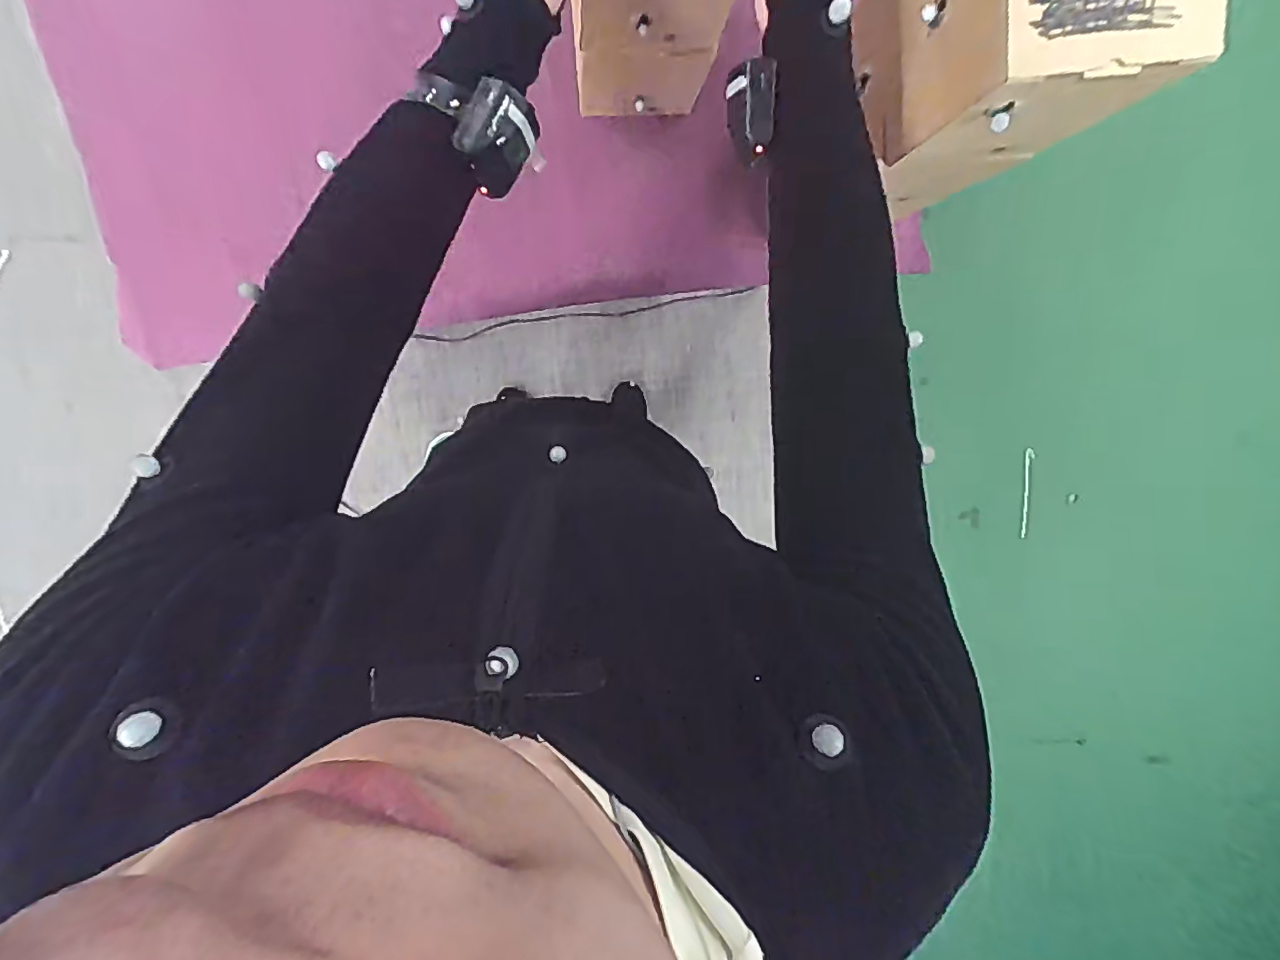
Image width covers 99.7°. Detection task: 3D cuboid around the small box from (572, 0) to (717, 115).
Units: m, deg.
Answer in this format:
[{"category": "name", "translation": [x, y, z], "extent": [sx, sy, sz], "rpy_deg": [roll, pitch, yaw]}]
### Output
[{"category": "small box", "translation": [-0.002, -0.612, 0.706], "extent": [0.168, 0.176, 0.179], "rpy_deg": [-5, 103, -5]}]

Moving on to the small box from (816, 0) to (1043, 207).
[{"category": "small box", "translation": [0.311, -0.431, 0.615], "extent": [0.168, 0.176, 0.179], "rpy_deg": [-5, 103, -4]}]

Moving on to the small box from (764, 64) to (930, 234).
[{"category": "small box", "translation": [0.291, -0.460, 0.775], "extent": [0.179, 0.176, 0.168], "rpy_deg": [-5, 102, -6]}]

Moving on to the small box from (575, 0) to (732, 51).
[{"category": "small box", "translation": [0.010, -0.582, 0.547], "extent": [0.168, 0.176, 0.179], "rpy_deg": [-9, 104, -6]}]
